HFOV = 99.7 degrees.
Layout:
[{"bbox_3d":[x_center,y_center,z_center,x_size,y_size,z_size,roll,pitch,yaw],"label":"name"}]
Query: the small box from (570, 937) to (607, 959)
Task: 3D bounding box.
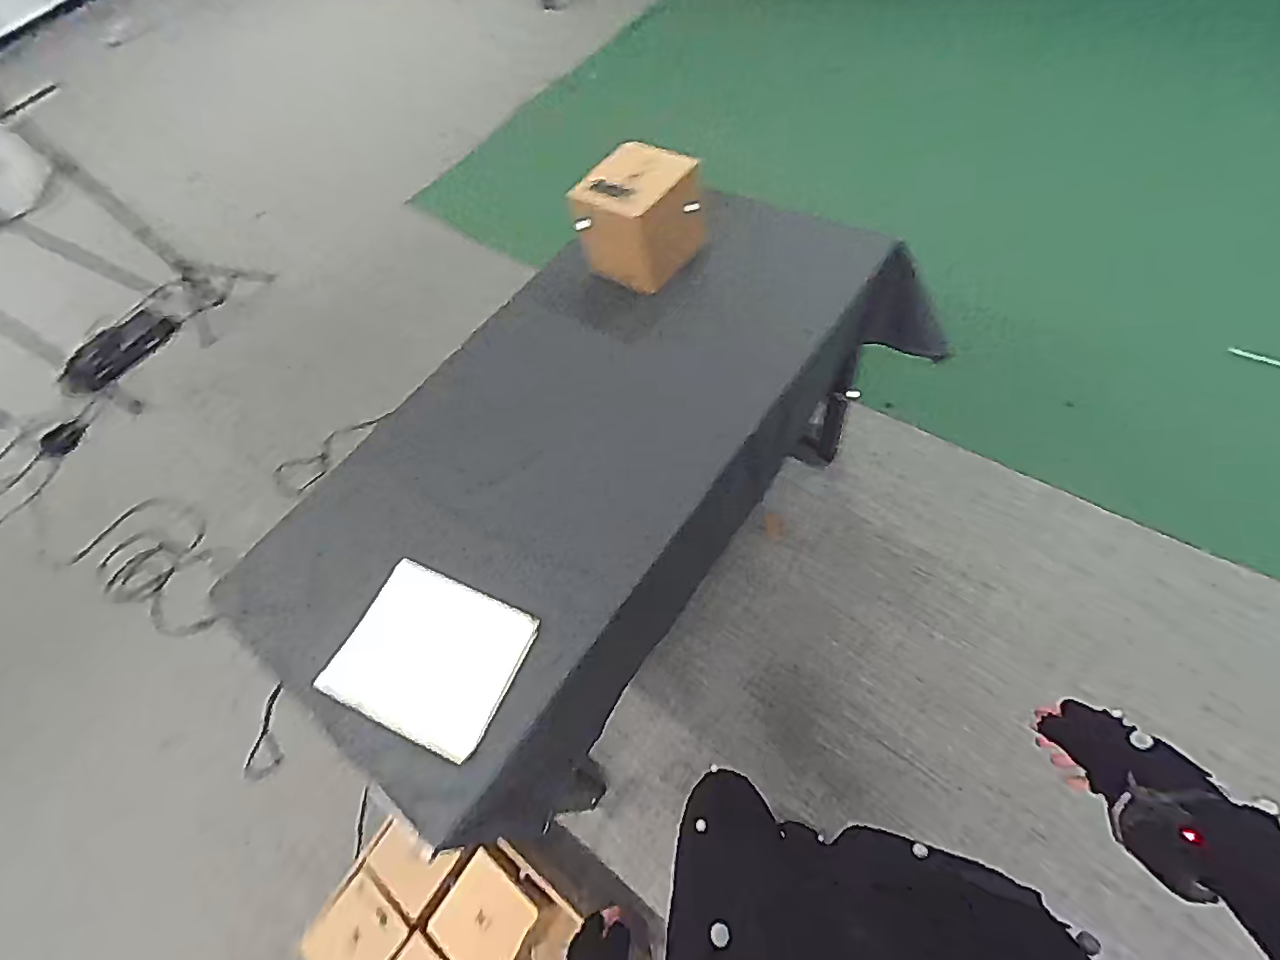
[{"bbox_3d":[-0.057,0.516,0.422,0.176,0.179,0.168,-30,66,-25],"label":"small box"}]
